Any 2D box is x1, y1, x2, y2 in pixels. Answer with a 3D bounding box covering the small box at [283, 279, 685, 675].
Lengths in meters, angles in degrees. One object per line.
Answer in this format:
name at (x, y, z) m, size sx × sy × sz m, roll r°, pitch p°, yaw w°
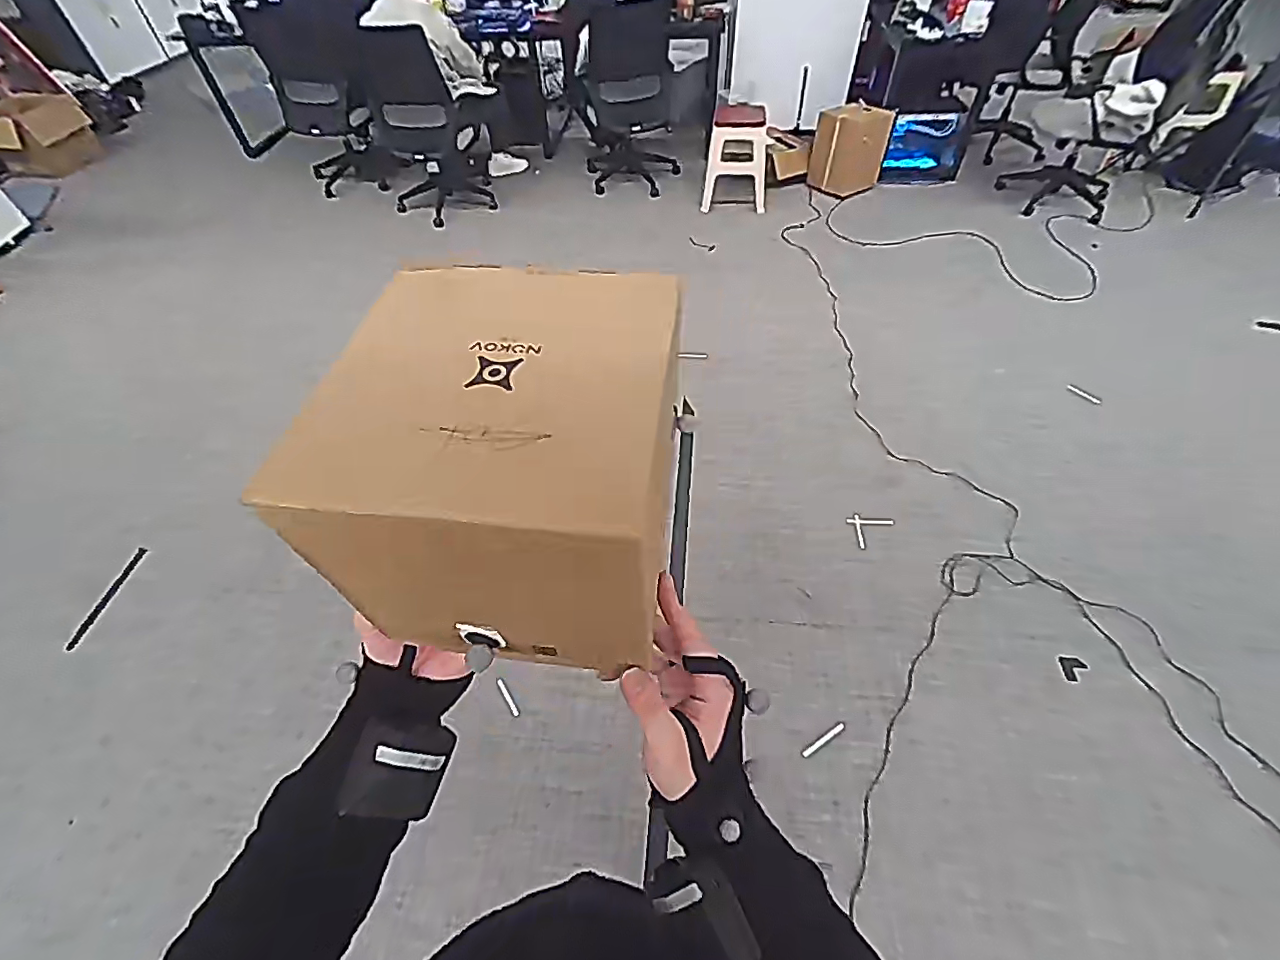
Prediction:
small box at (-0.063, 0.000, 0.337) m, size 0.168 × 0.176 × 0.179 m, roll 4°, pitch 53°, yaw 5°
